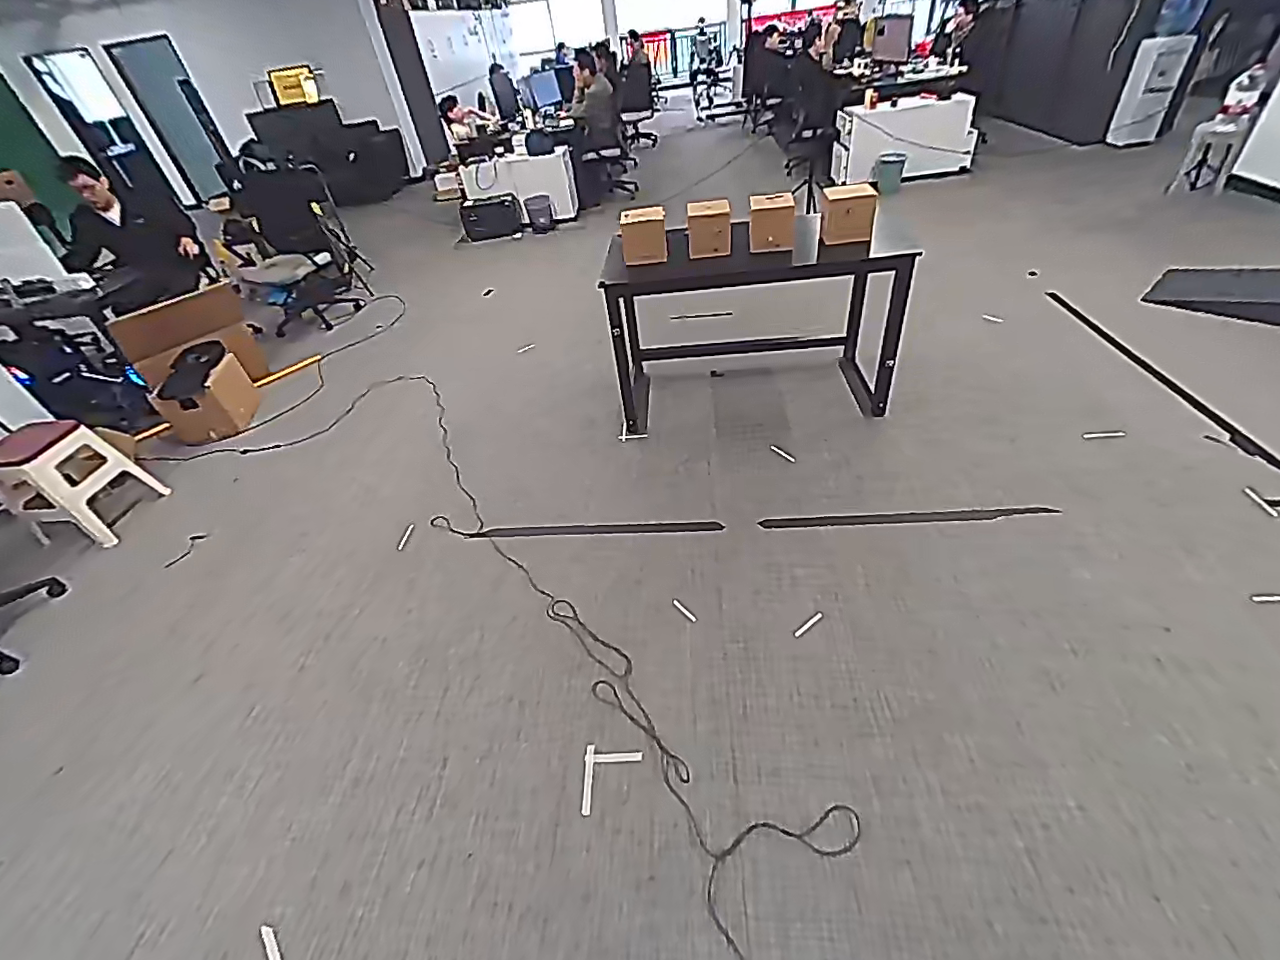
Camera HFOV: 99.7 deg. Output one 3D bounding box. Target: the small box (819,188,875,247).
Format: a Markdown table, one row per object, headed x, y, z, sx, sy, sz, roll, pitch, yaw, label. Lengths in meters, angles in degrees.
| x | y | z | sx | sy | sz | roll | pitch | yaw | label |
| --- | --- | --- | --- | --- | --- | --- | --- | --- | --- |
| 0.813 | -1.035 | 2.141 | 0.179 | 0.176 | 0.168 | -2 | 41 | 8 | small box |

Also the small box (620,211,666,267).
| x | y | z | sx | sy | sz | roll | pitch | yaw | label |
| --- | --- | --- | --- | --- | --- | --- | --- | --- | --- |
| 0.017 | -0.998 | 2.242 | 0.179 | 0.176 | 0.168 | -4 | 40 | 5 | small box |

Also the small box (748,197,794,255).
| x | y | z | sx | sy | sz | roll | pitch | yaw | label |
| --- | --- | --- | --- | --- | --- | --- | --- | --- | --- |
| 0.523 | -1.022 | 2.178 | 0.168 | 0.176 | 0.179 | 0 | 42 | 10 | small box |

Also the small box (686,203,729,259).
| x | y | z | sx | sy | sz | roll | pitch | yaw | label |
| --- | --- | --- | --- | --- | --- | --- | --- | --- | --- |
| 0.278 | -1.016 | 2.219 | 0.168 | 0.176 | 0.179 | -3 | 40 | 6 | small box |
